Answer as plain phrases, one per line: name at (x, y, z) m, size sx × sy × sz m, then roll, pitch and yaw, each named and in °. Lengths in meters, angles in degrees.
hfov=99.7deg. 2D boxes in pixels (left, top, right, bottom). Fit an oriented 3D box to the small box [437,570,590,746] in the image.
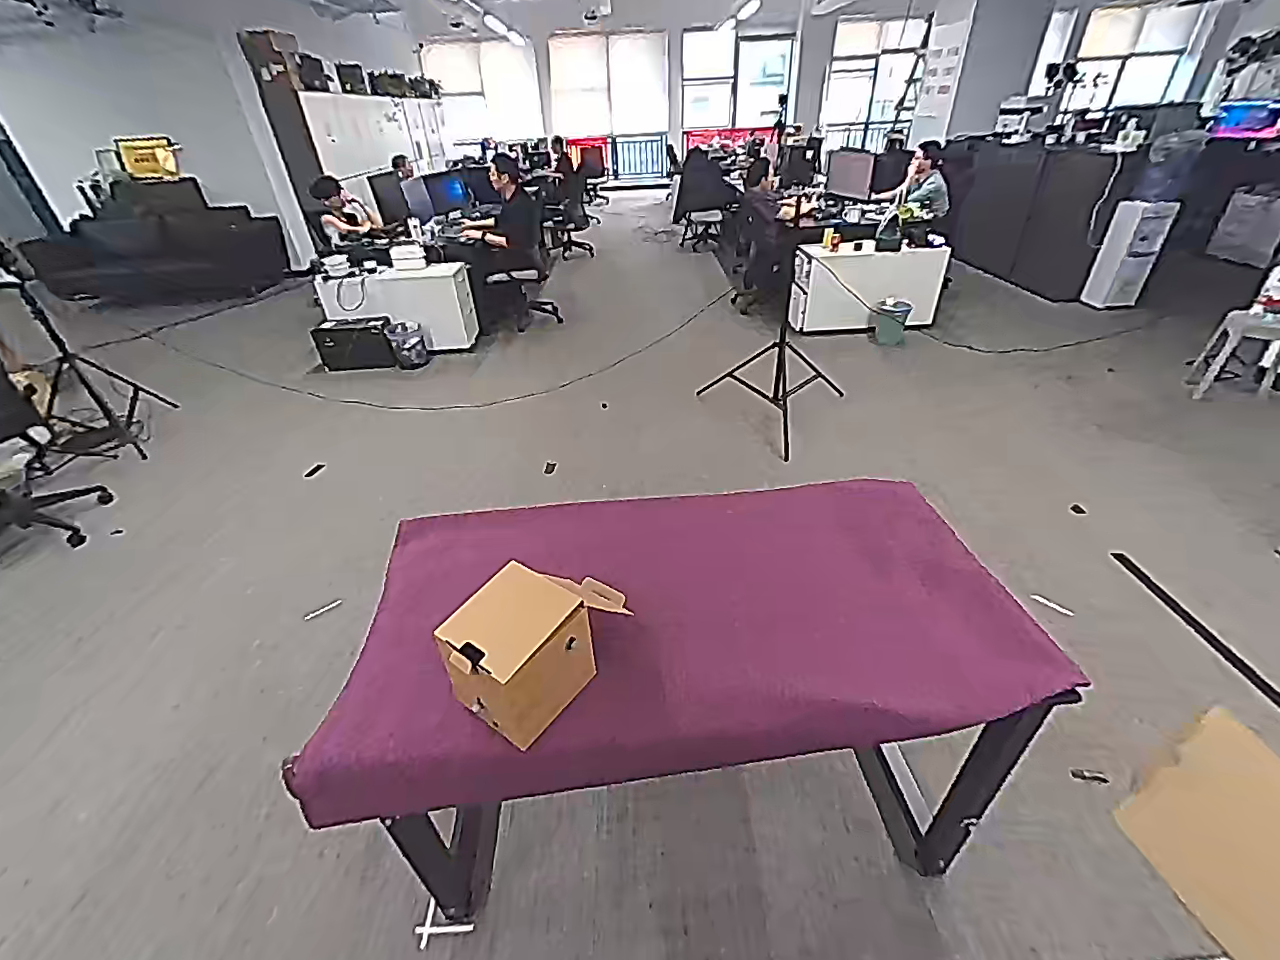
small box at (-0.196, 0.286, 0.886) m, size 0.168 × 0.176 × 0.179 m, roll 19°, pitch 40°, yaw 32°
